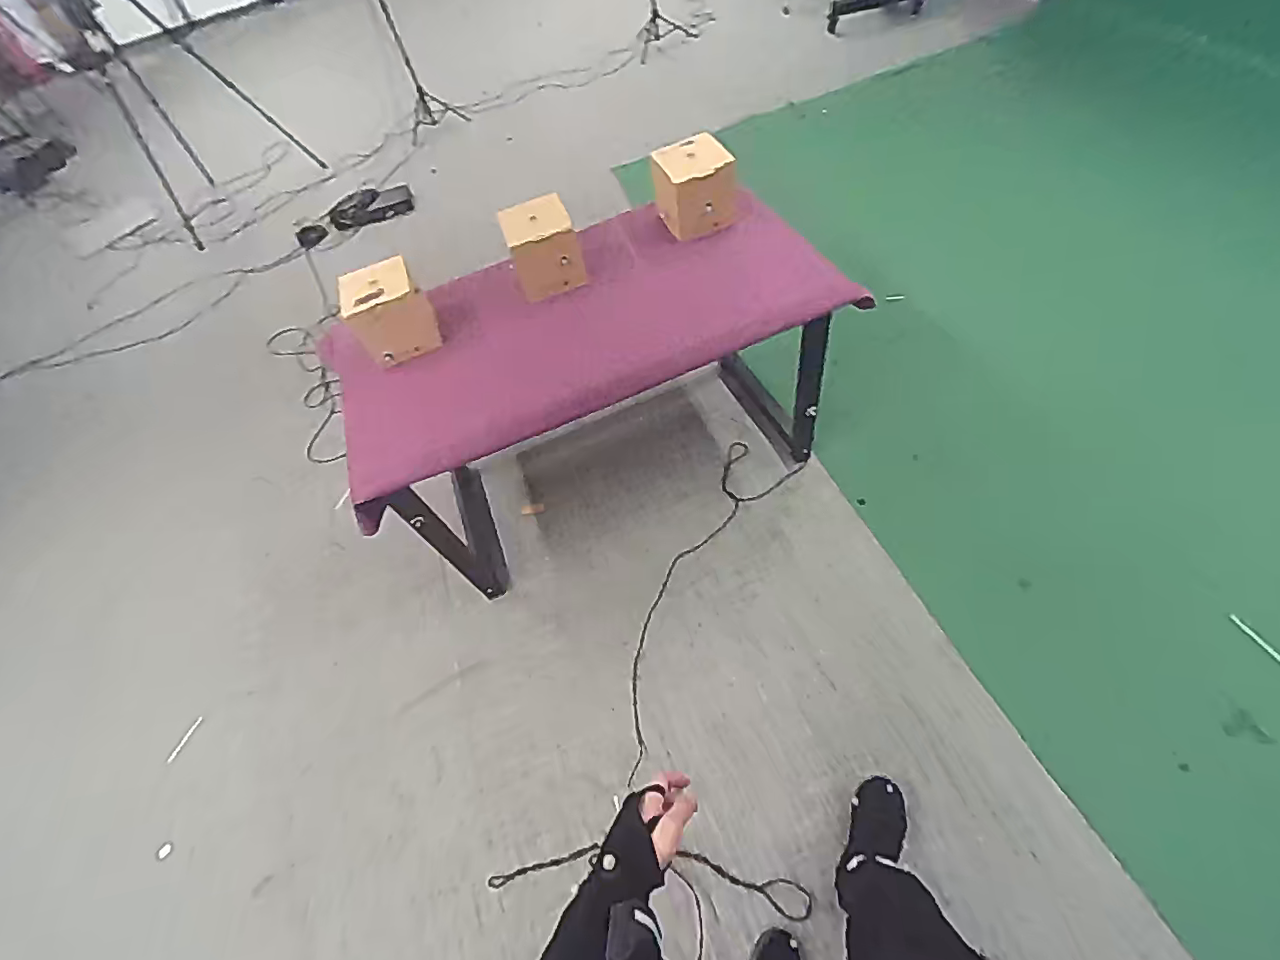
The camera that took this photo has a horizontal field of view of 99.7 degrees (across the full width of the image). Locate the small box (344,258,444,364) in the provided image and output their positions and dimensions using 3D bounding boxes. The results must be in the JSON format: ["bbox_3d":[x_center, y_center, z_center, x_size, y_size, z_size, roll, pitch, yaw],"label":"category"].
[{"bbox_3d":[-0.610,-0.414,1.353,0.168,0.176,0.179,-22,55,-5],"label":"small box"}]

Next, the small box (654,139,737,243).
[{"bbox_3d":[0.151,-0.756,1.435,0.168,0.176,0.179,-22,58,-4],"label":"small box"}]

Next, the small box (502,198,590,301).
[{"bbox_3d":[-0.240,-0.589,1.403,0.168,0.176,0.179,-20,55,-3],"label":"small box"}]
